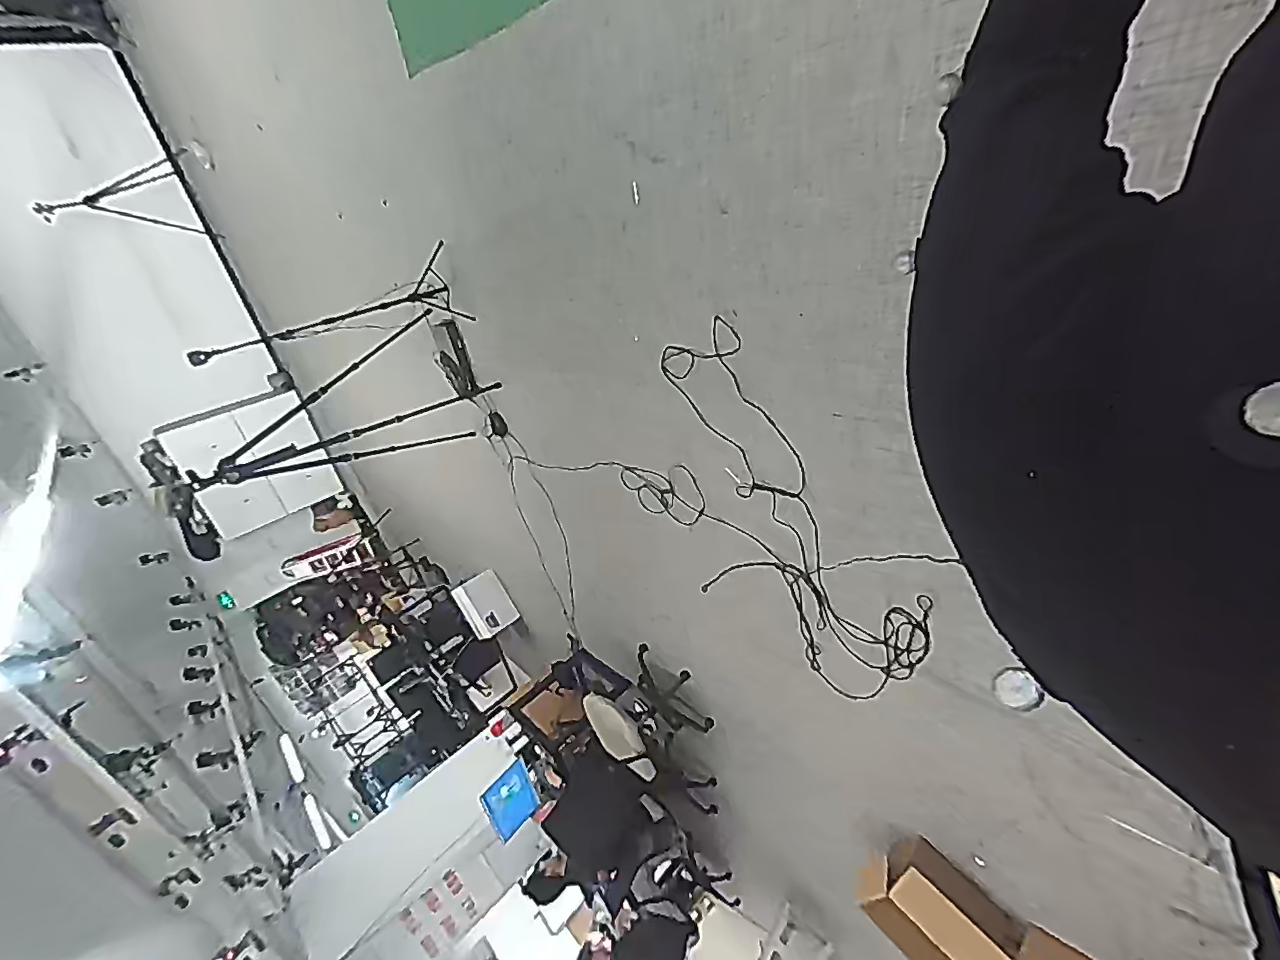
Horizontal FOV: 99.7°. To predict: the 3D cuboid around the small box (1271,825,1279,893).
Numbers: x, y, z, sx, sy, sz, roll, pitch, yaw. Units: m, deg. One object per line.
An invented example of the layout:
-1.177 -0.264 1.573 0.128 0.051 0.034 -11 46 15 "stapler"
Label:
1.553 0.854 1.191 0.168 0.176 0.179 24 134 40 "small box"
